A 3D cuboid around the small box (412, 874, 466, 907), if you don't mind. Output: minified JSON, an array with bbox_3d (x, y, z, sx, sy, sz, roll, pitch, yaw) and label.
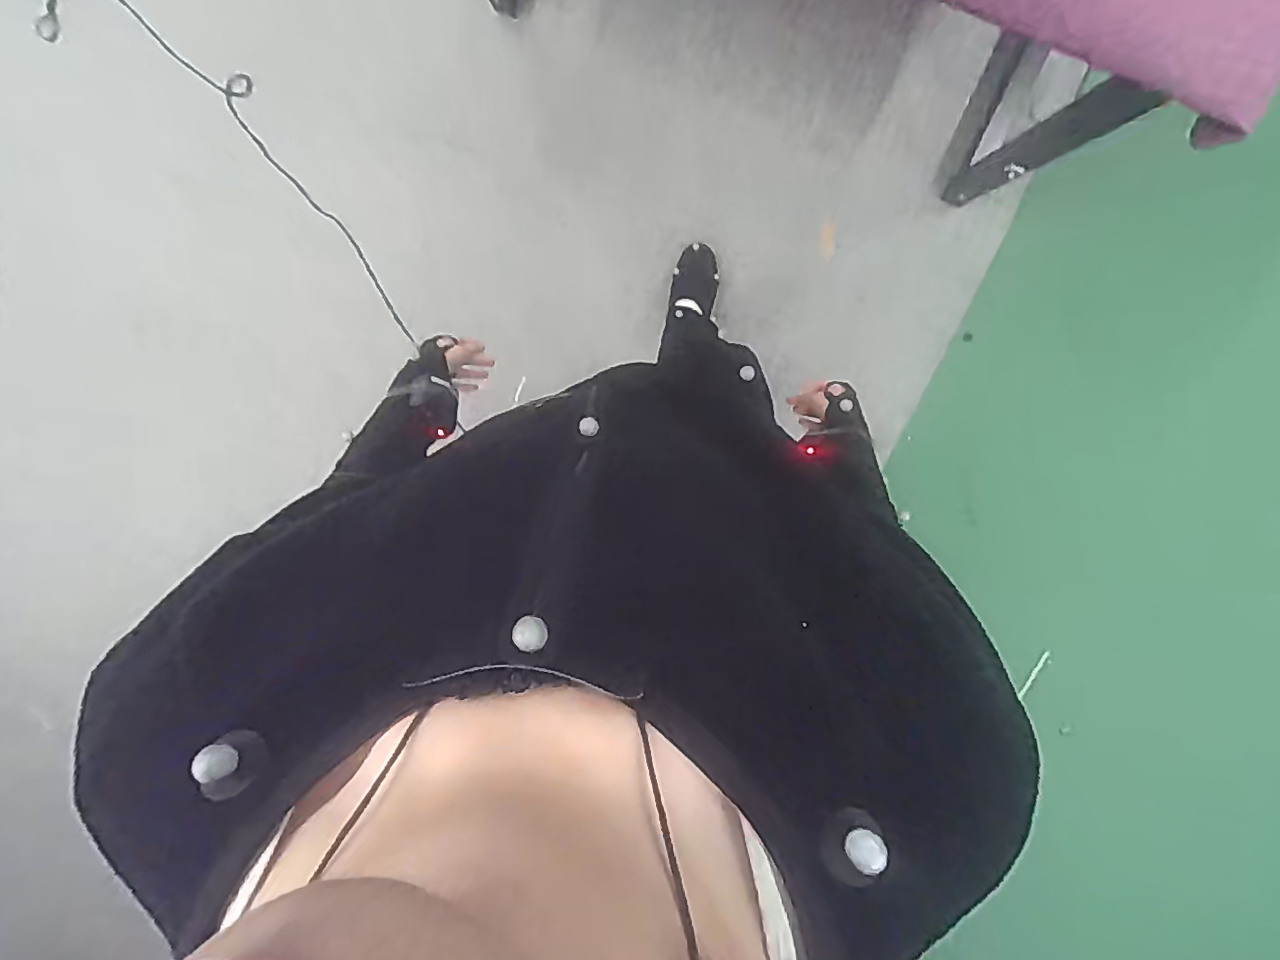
[{"bbox_3d":[-0.606,1.235,1.775,0.179,0.176,0.168,27,105,-2],"label":"small box"}]

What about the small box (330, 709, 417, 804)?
[{"bbox_3d":[-0.828,0.860,1.697,0.168,0.176,0.179,25,106,-1],"label":"small box"}]

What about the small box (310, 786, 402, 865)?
[{"bbox_3d":[-0.917,1.091,1.762,0.179,0.176,0.168,36,105,-3],"label":"small box"}]
